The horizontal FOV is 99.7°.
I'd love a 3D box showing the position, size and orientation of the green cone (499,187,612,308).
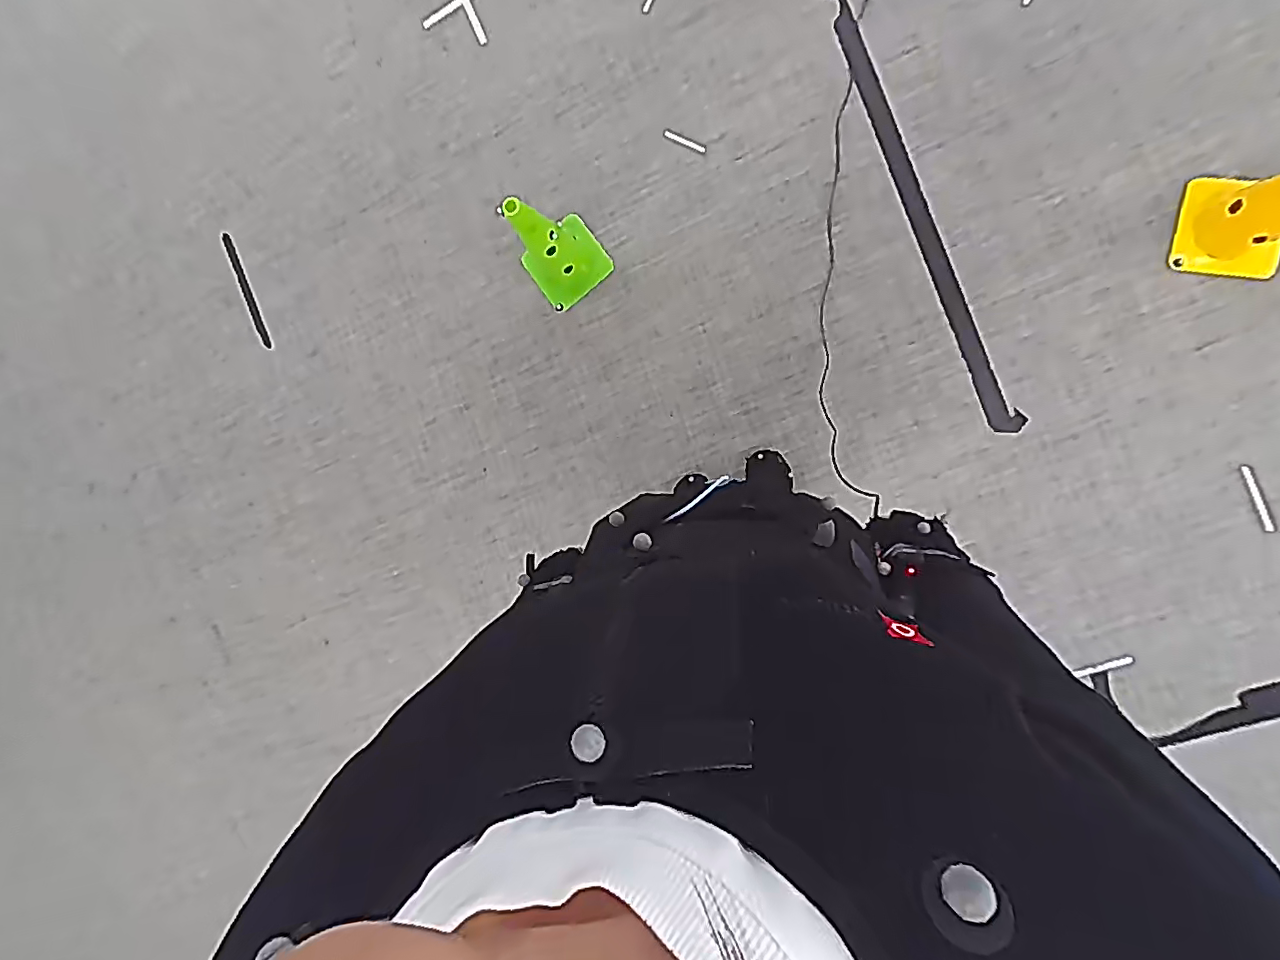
[{"bbox_3d":[-0.233,-0.591,1.296,0.200,0.368,0.202,-37,84,10],"label":"green cone"}]
